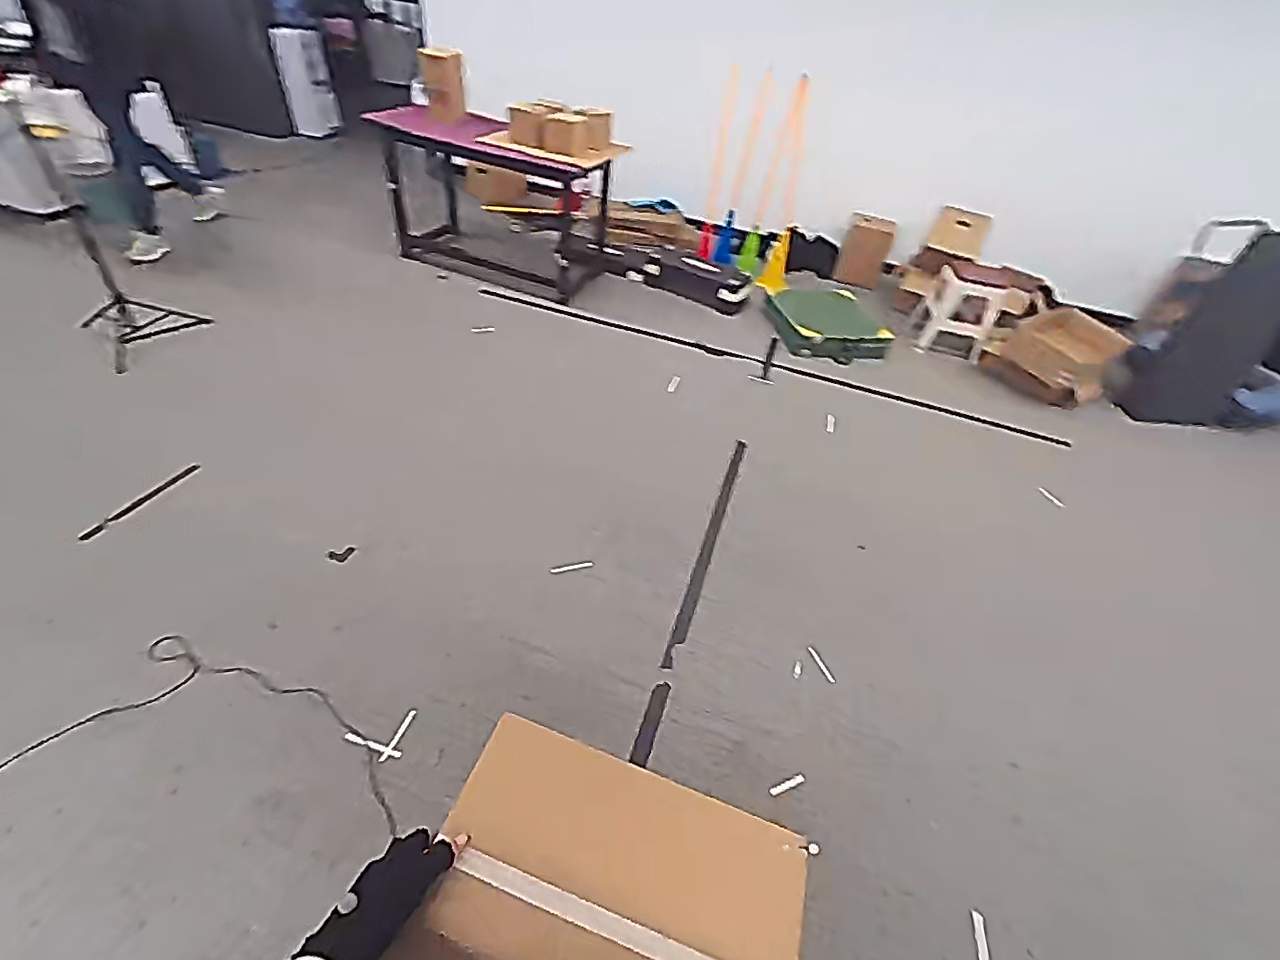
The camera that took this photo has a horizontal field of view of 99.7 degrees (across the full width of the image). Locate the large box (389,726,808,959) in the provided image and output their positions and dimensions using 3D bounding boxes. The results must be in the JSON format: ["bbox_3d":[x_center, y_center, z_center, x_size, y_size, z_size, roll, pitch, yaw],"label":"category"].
[{"bbox_3d":[-0.054,0.581,0.672,0.408,0.320,0.320,20,45,8],"label":"large box"}]
